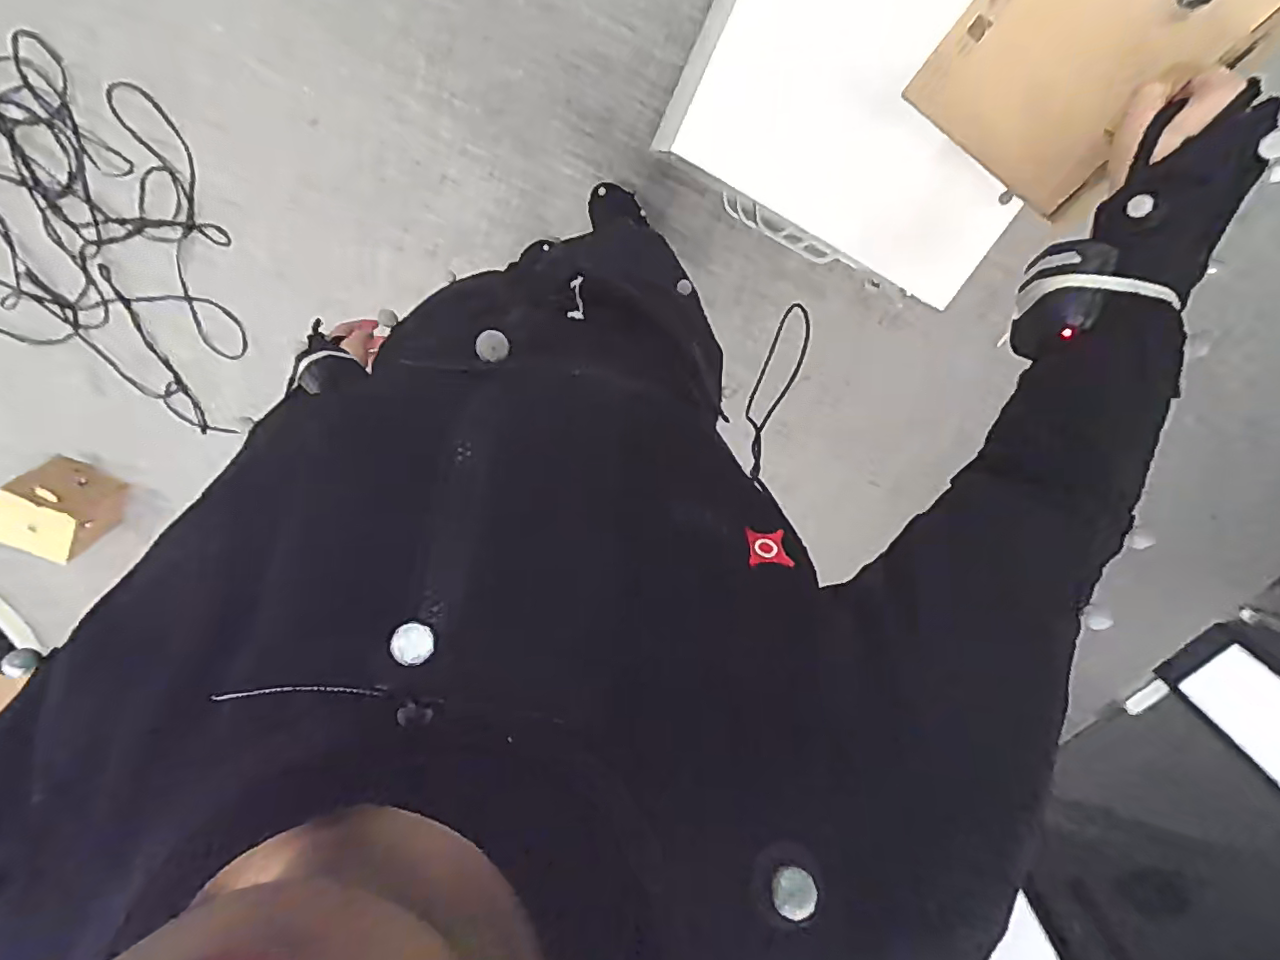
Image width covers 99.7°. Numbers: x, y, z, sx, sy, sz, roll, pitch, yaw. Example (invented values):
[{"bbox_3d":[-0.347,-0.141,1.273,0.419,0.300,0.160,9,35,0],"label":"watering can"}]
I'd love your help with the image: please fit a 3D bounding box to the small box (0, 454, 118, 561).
[{"bbox_3d":[-1.495,0.067,1.379,0.168,0.176,0.179,31,114,-19],"label":"small box"}]
